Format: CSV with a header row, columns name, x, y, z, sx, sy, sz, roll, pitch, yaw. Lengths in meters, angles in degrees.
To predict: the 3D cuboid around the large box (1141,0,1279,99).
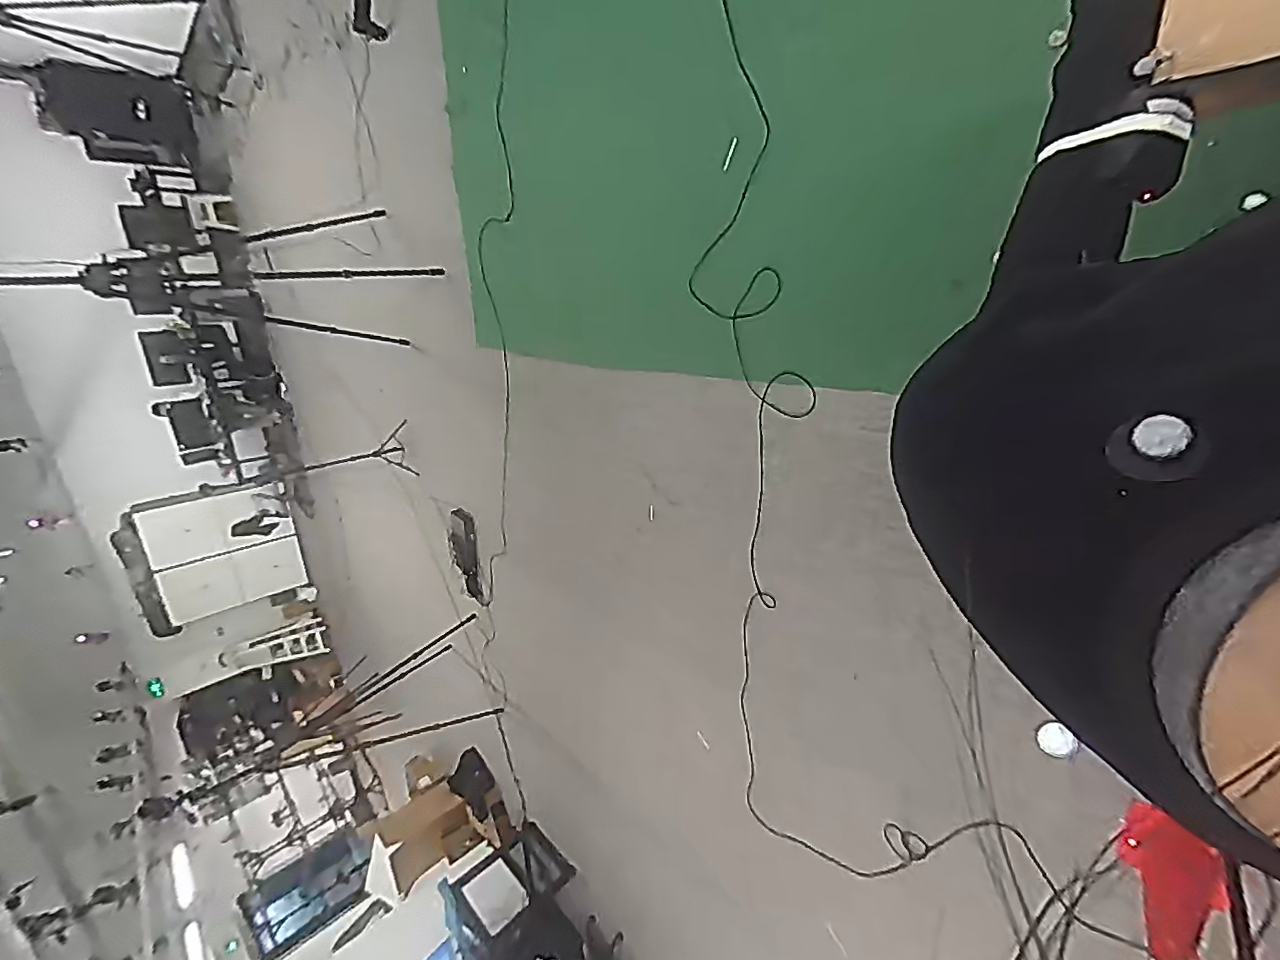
name,x,y,z,sx,sy,sz,roll,pitch,yaw
large box,0.602,-0.469,0.319,0.408,0.320,0.320,13,120,39
